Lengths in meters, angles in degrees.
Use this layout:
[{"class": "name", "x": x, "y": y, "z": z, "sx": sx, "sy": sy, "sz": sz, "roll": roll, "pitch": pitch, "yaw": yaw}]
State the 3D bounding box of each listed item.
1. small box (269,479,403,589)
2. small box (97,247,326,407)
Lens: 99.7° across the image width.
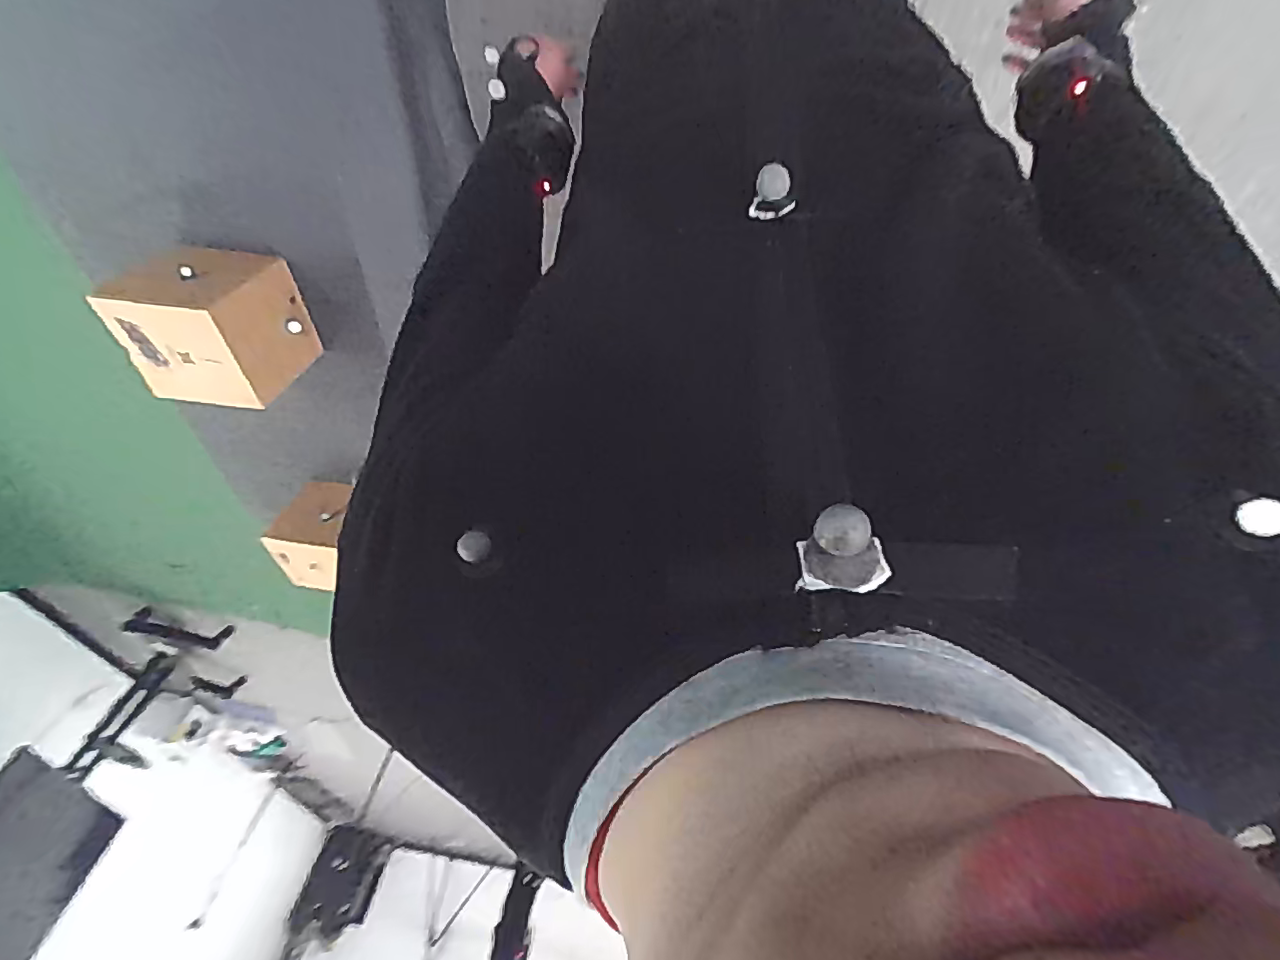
[{"class": "small box", "x": -0.640, "y": 0.114, "z": 1.174, "sx": 0.179, "sy": 0.176, "sz": 0.168, "roll": 6, "pitch": 135, "yaw": 6}, {"class": "small box", "x": -0.623, "y": -0.235, "z": 0.816, "sx": 0.179, "sy": 0.176, "sz": 0.168, "roll": 7, "pitch": 136, "yaw": 4}]
